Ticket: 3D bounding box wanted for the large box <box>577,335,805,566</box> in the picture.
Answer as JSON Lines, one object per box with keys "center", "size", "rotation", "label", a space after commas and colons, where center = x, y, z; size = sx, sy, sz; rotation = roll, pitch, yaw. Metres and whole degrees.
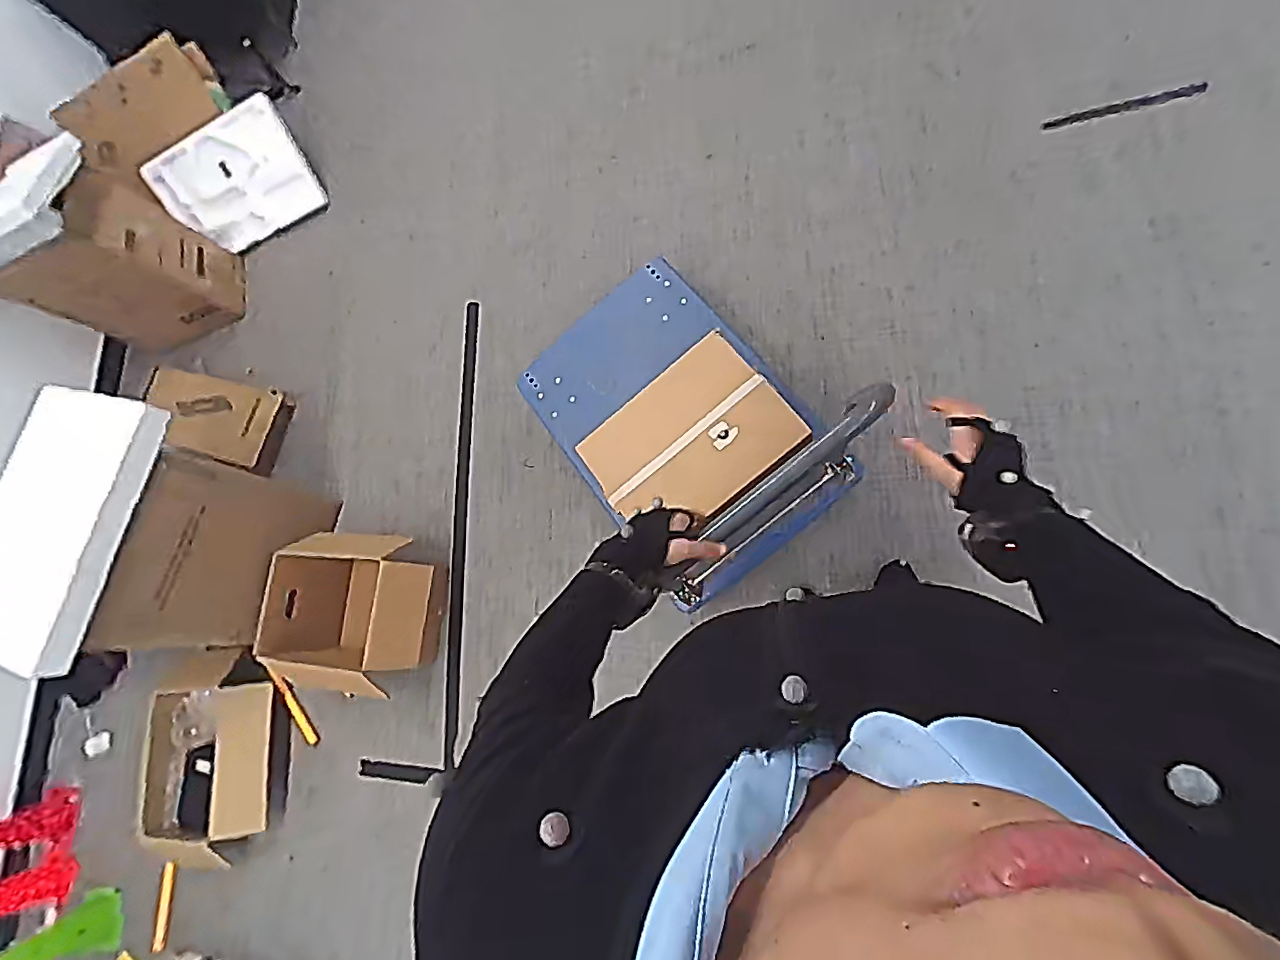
{"center": [0.134, -0.045, 1.273], "size": [0.408, 0.320, 0.320], "rotation": [-40, 71, 6], "label": "large box"}
